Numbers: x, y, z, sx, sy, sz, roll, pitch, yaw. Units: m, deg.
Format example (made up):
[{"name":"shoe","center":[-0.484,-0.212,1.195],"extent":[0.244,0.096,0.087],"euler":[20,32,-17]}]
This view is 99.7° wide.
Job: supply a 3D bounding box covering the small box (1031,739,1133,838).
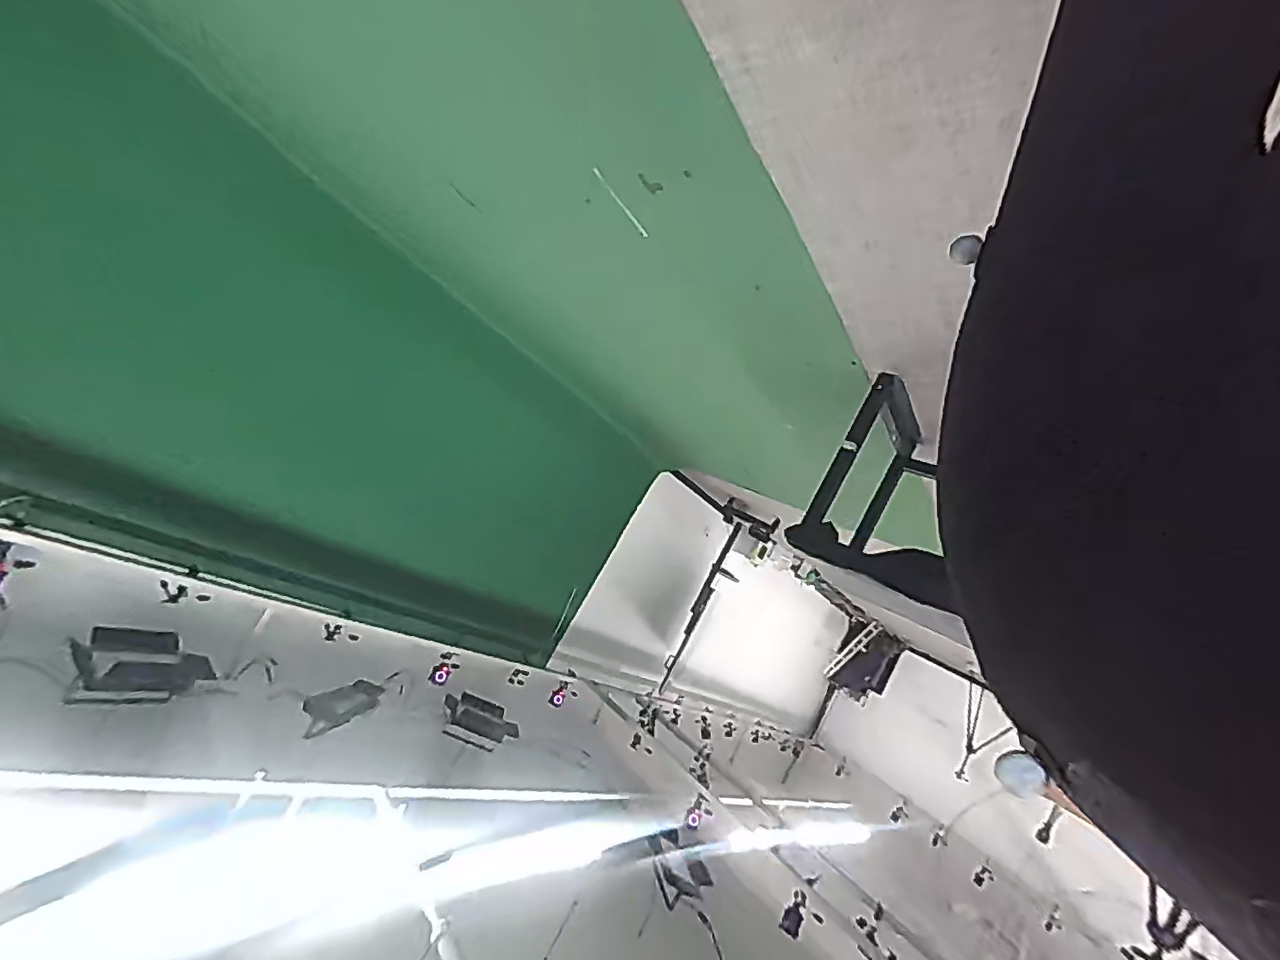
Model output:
[{"name":"small box","center":[1.192,0.826,1.465],"extent":[0.168,0.176,0.179],"euler":[26,171,40]}]
